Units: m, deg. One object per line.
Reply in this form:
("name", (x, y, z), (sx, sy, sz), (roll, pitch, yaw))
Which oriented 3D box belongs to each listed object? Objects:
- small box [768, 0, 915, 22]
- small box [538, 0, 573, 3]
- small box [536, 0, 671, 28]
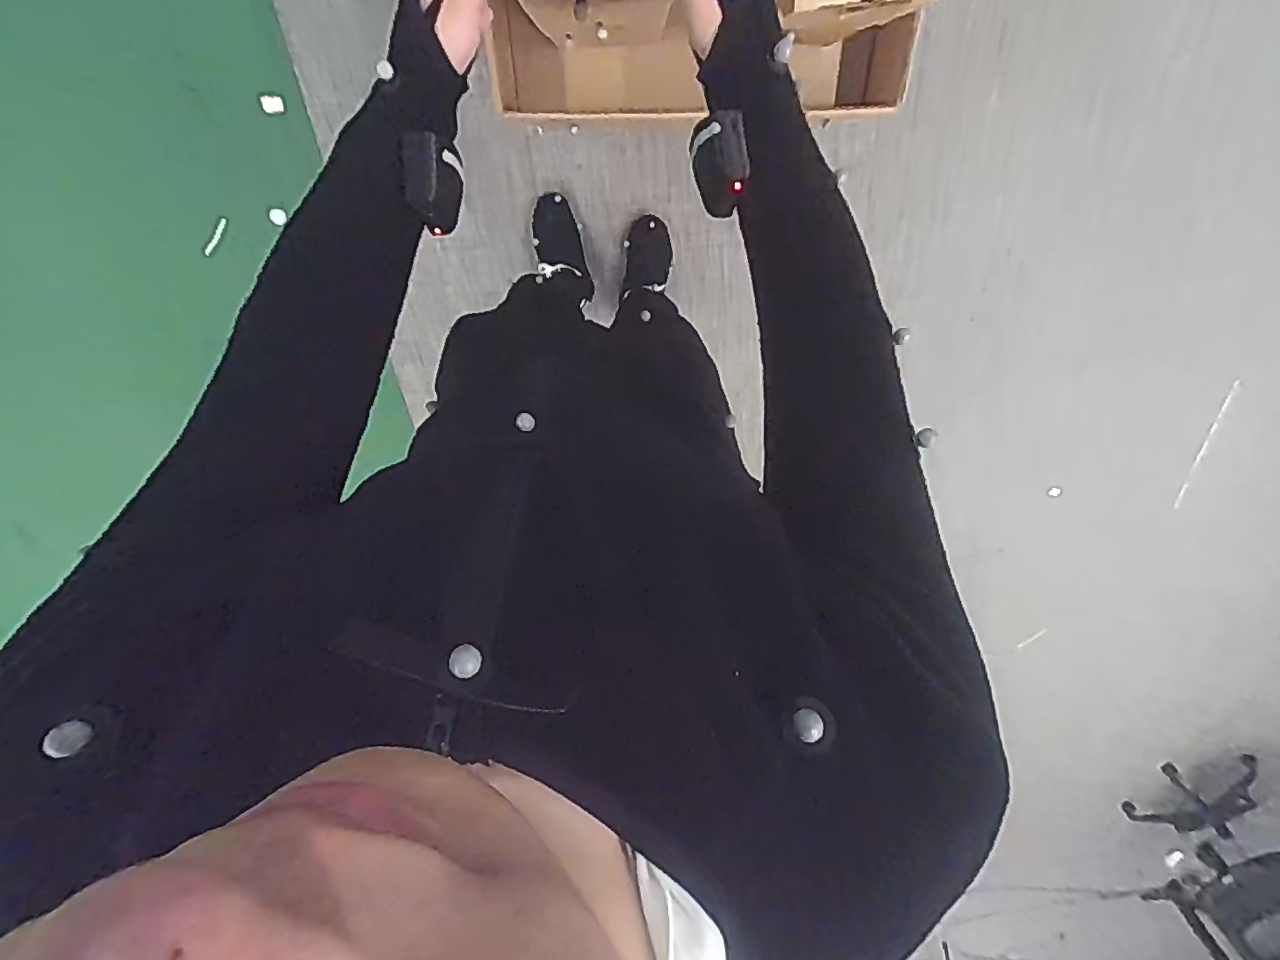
("small box", (0.247, -0.645, 0.615), (0.168, 0.176, 0.179), (-4, 122, 1))
("small box", (-0.046, -0.553, 0.473), (0.168, 0.176, 0.179), (-2, 122, 1))
("small box", (-0.050, -0.641, 0.609), (0.168, 0.176, 0.179), (-3, 122, 1))
